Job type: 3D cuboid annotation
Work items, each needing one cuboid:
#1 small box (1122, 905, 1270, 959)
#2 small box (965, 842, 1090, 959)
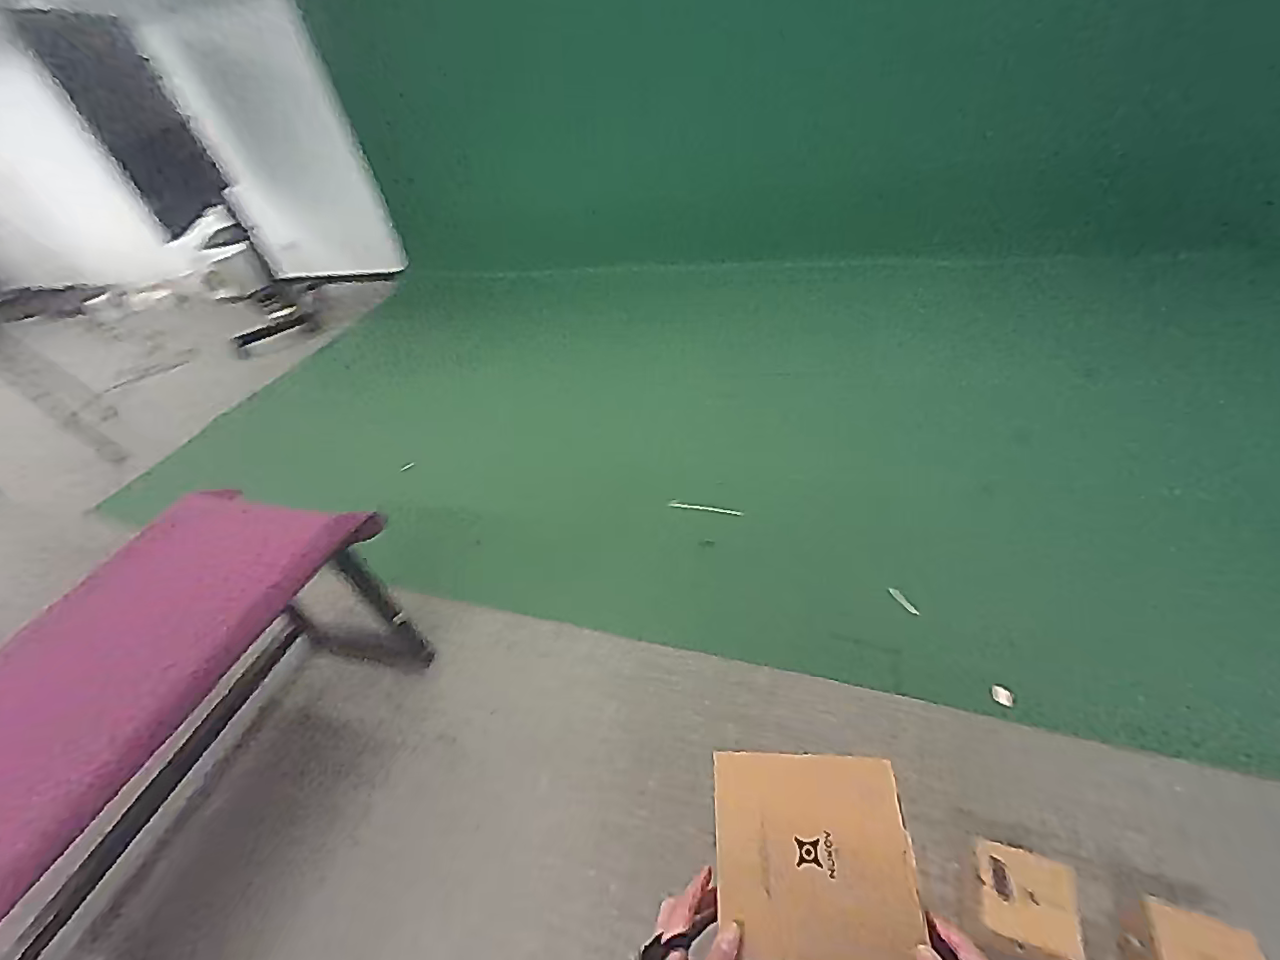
[{"bbox_3d":[1.067,0.965,1.031,0.168,0.176,0.179,9,45,22],"label":"small box"},{"bbox_3d":[0.807,0.913,1.148,0.179,0.176,0.168,9,46,21],"label":"small box"}]
